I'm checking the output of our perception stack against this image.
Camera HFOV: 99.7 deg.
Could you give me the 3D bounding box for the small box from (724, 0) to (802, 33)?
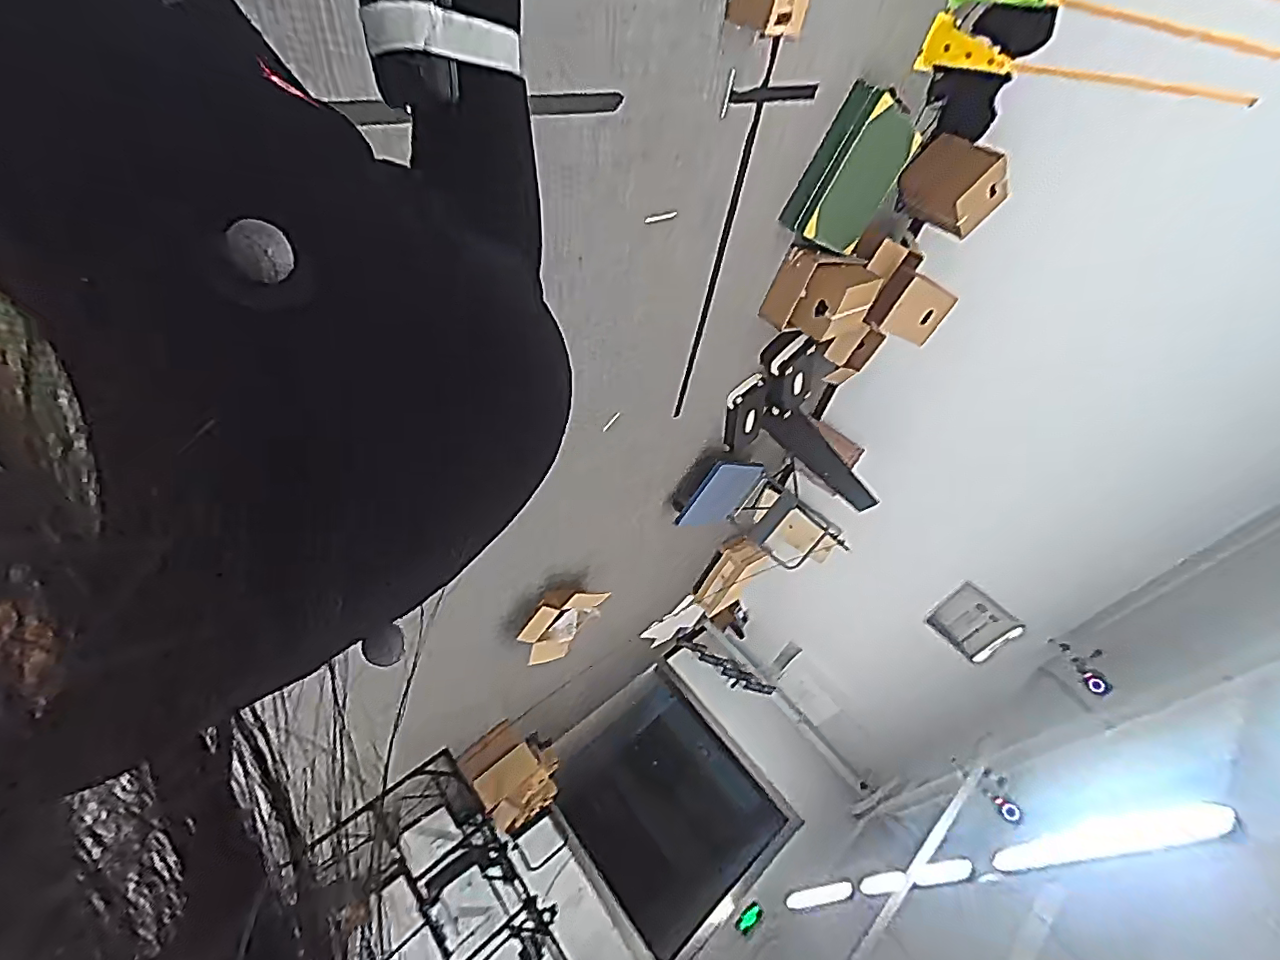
[{"bbox_3d":[0.375,-1.468,1.608,0.168,0.176,0.179,-29,149,-33],"label":"small box"}]
